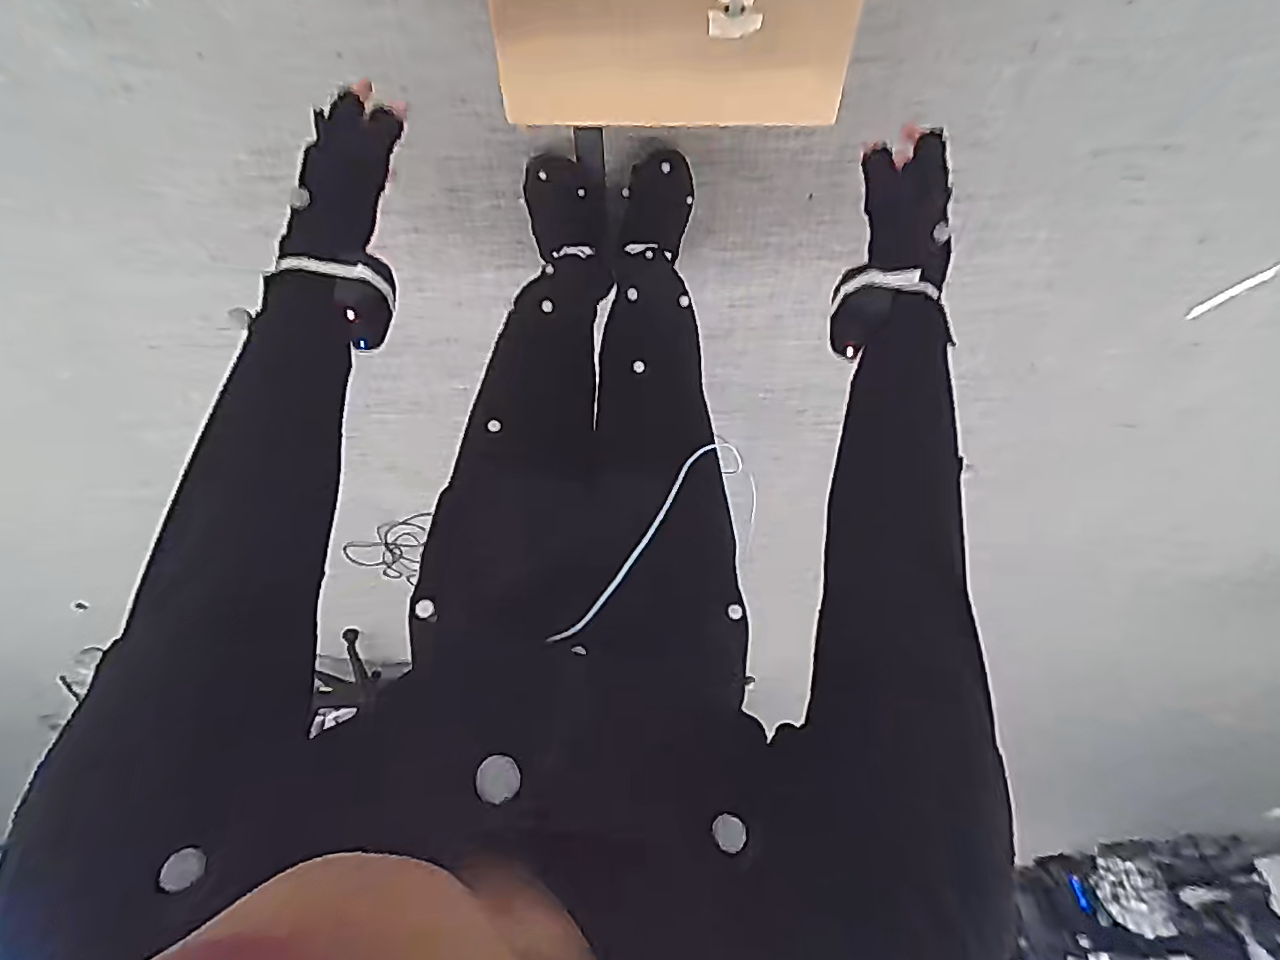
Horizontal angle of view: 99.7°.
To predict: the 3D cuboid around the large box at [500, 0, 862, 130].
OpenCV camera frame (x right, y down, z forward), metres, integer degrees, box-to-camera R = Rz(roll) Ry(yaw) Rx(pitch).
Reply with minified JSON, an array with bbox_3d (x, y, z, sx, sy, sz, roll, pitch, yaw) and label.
[{"bbox_3d":[0.043,-0.654,0.665,0.408,0.320,0.320,0,139,0],"label":"large box"}]
